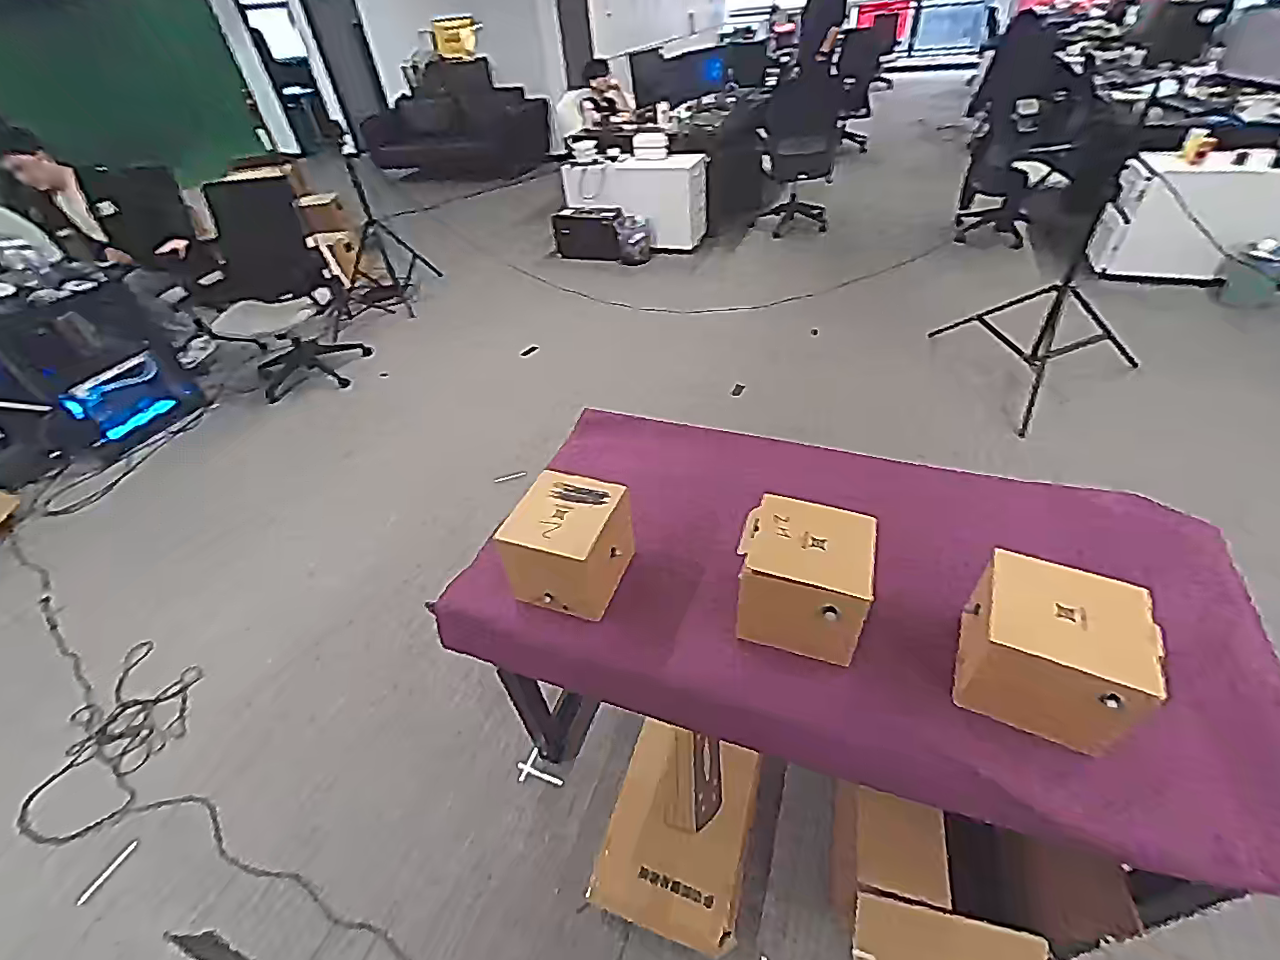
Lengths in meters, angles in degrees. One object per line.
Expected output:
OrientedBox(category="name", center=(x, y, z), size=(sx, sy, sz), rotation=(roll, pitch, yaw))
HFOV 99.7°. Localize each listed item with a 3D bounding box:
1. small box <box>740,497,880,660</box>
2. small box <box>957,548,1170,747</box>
OrientedBox(category="small box", center=(0.261, 0.155, 0.845), size=(0.179, 0.176, 0.168), rotation=(10, 42, 18))
OrientedBox(category="small box", center=(0.550, 0.225, 0.729), size=(0.179, 0.176, 0.168), rotation=(16, 46, 23))
